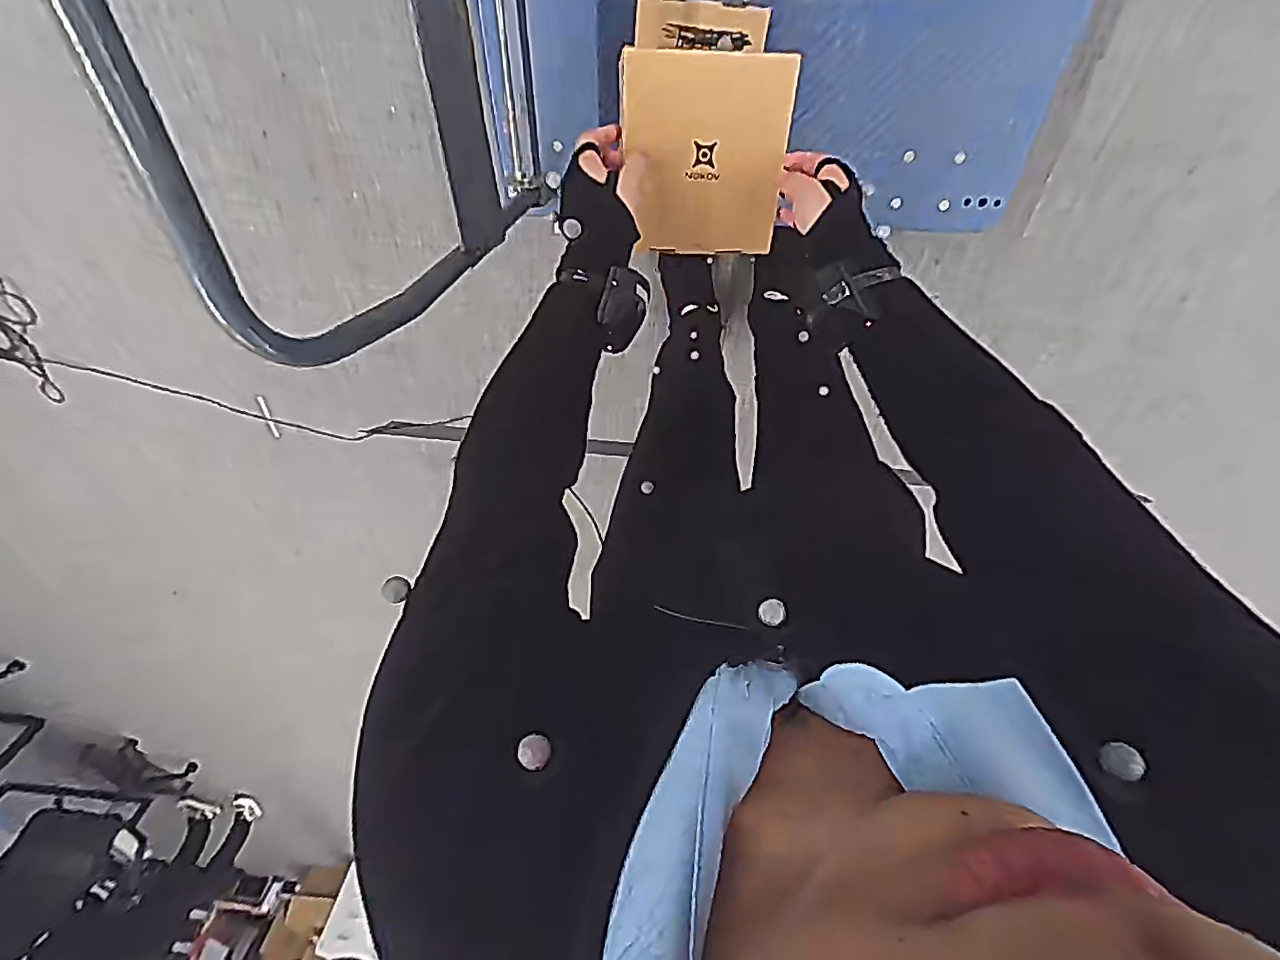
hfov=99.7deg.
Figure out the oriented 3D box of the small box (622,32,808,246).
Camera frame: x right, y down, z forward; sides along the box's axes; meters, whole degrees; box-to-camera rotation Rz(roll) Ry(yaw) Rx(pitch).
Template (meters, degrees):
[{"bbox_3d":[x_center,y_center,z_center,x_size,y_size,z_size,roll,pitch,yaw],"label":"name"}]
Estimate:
[{"bbox_3d":[0.065,-0.373,0.598,0.168,0.176,0.179,0,127,-3],"label":"small box"}]
